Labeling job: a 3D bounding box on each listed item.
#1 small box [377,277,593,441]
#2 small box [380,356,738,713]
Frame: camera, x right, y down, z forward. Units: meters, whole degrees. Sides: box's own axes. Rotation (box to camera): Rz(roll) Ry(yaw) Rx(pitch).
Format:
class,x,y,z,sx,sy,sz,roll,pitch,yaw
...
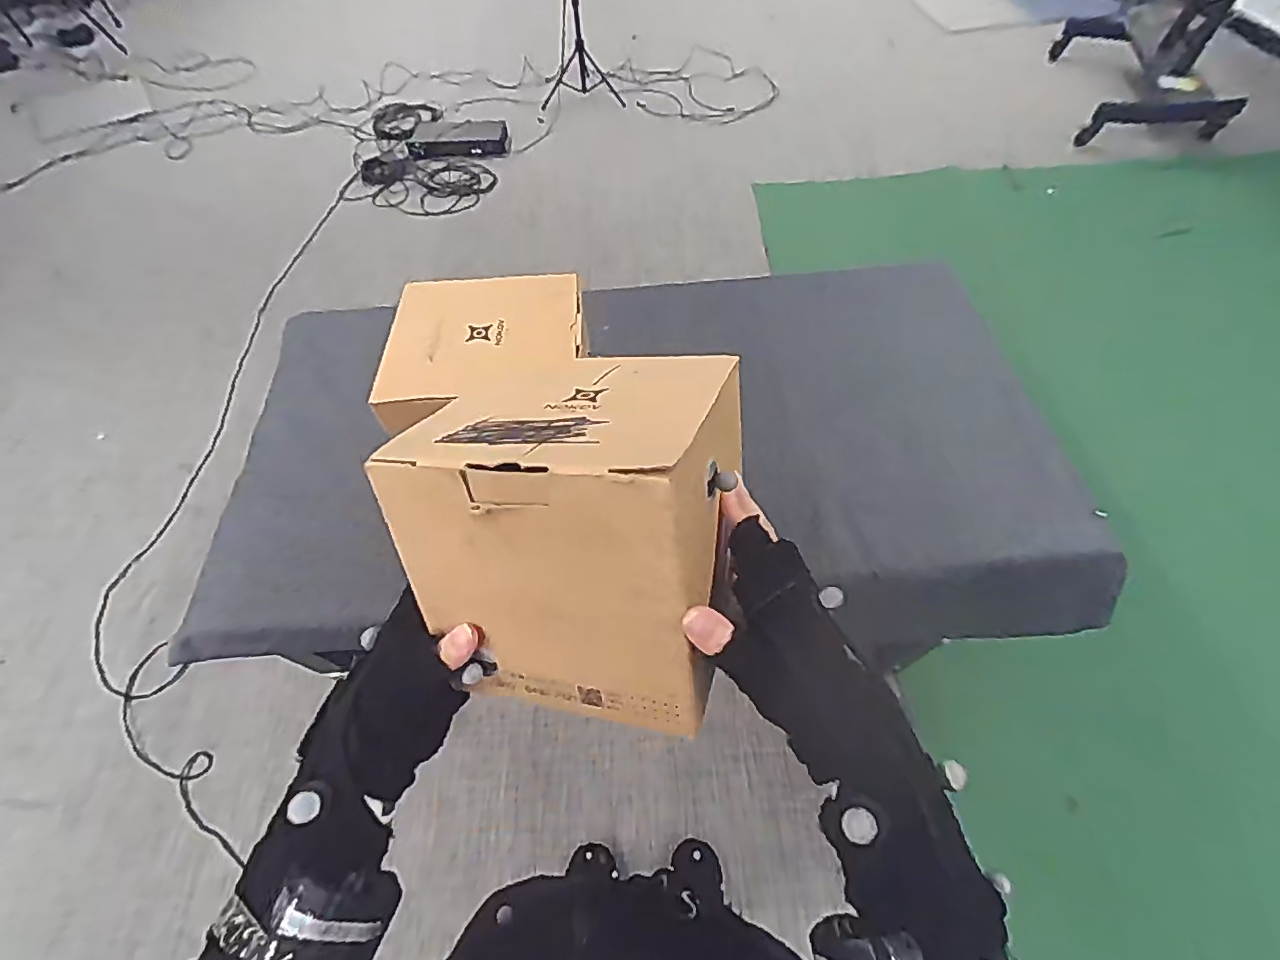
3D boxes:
class,x,y,z,sx,sy,sz,roll,pitch,yaw
small box,-0.138,-0.088,0.569,0.179,0.176,0.168,-4,54,1
small box,-0.028,0.024,0.366,0.168,0.176,0.179,4,29,19
